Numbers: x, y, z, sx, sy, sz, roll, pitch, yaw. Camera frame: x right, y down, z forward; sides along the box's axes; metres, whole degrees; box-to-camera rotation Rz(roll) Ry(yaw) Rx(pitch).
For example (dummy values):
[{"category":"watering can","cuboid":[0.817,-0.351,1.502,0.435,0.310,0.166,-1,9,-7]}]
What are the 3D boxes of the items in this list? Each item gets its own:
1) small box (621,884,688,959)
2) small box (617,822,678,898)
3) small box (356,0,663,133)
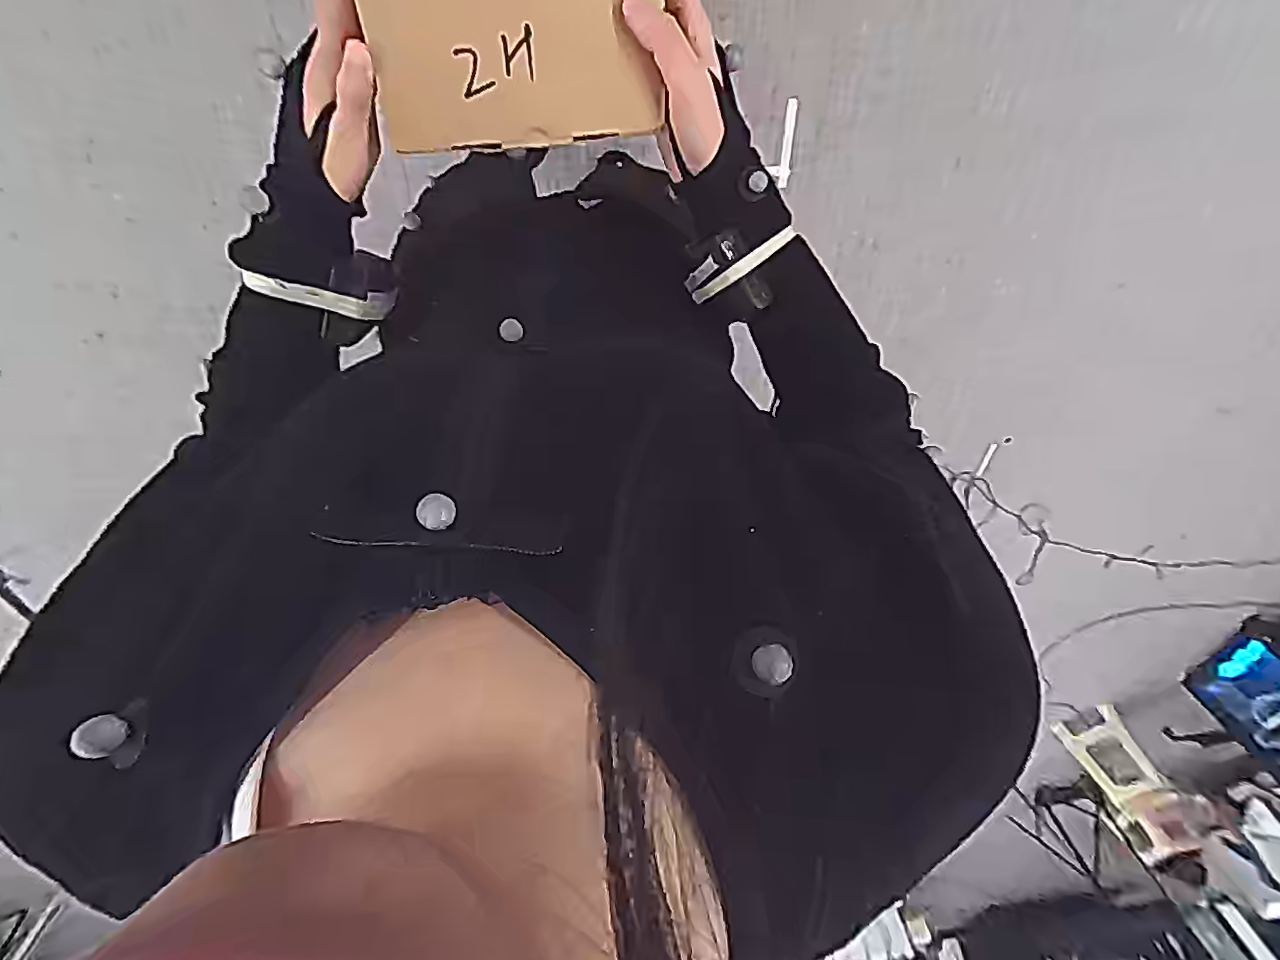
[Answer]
[{"category":"small box","cuboid":[0.035,1.283,1.545,0.168,0.176,0.179,-3,129,-6]},{"category":"small box","cuboid":[0.016,1.177,1.668,0.168,0.176,0.179,-2,129,-7]},{"category":"small box","cuboid":[-0.091,-0.323,0.332,0.168,0.176,0.179,-13,128,-13]}]
